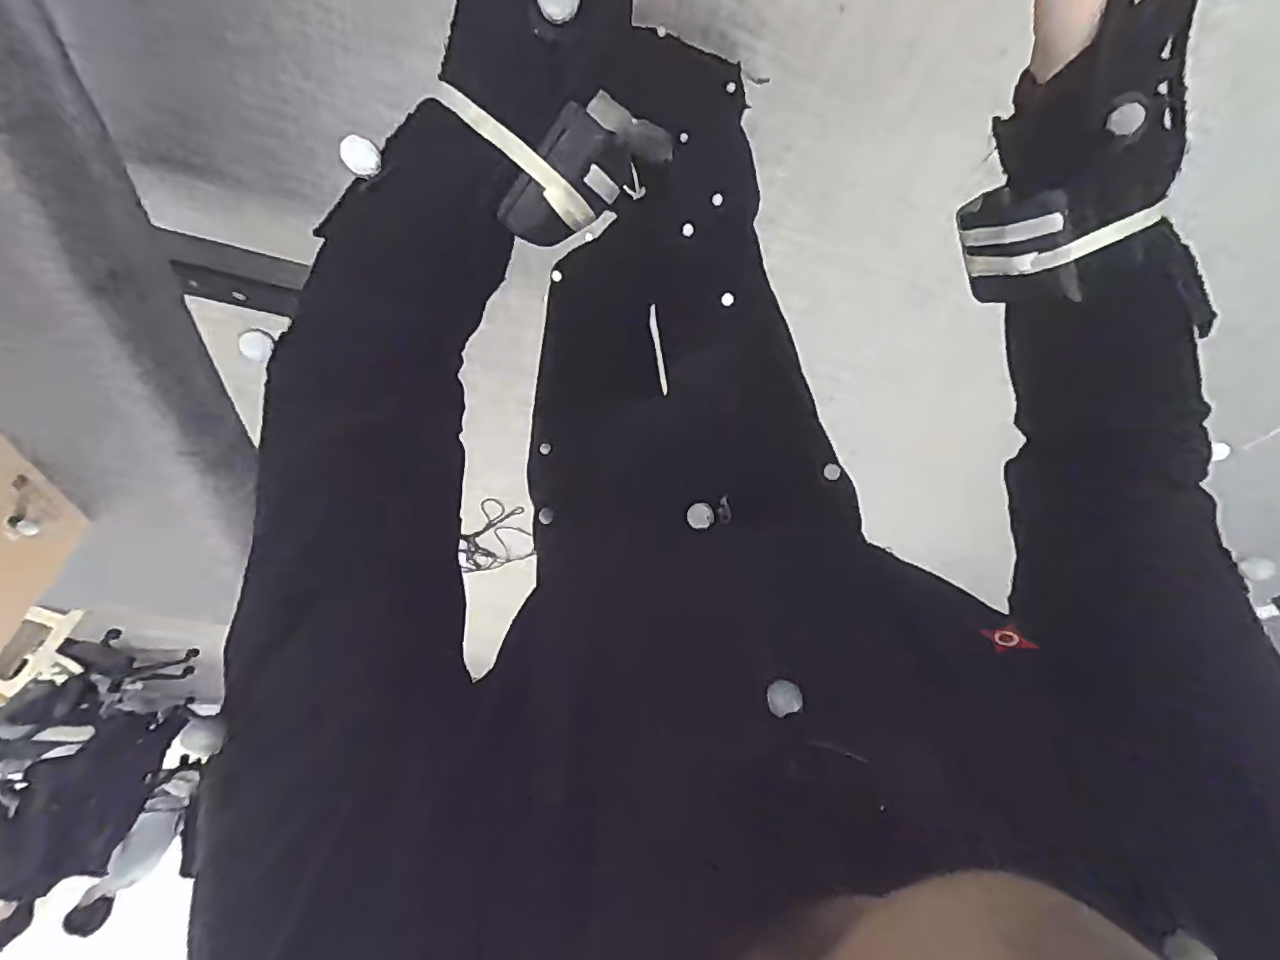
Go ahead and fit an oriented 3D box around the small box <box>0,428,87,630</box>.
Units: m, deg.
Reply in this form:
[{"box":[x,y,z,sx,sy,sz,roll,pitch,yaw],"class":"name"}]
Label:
[{"box":[-0.645,0.048,0.449,0.179,0.176,0.168,9,143,-12],"class":"small box"}]
